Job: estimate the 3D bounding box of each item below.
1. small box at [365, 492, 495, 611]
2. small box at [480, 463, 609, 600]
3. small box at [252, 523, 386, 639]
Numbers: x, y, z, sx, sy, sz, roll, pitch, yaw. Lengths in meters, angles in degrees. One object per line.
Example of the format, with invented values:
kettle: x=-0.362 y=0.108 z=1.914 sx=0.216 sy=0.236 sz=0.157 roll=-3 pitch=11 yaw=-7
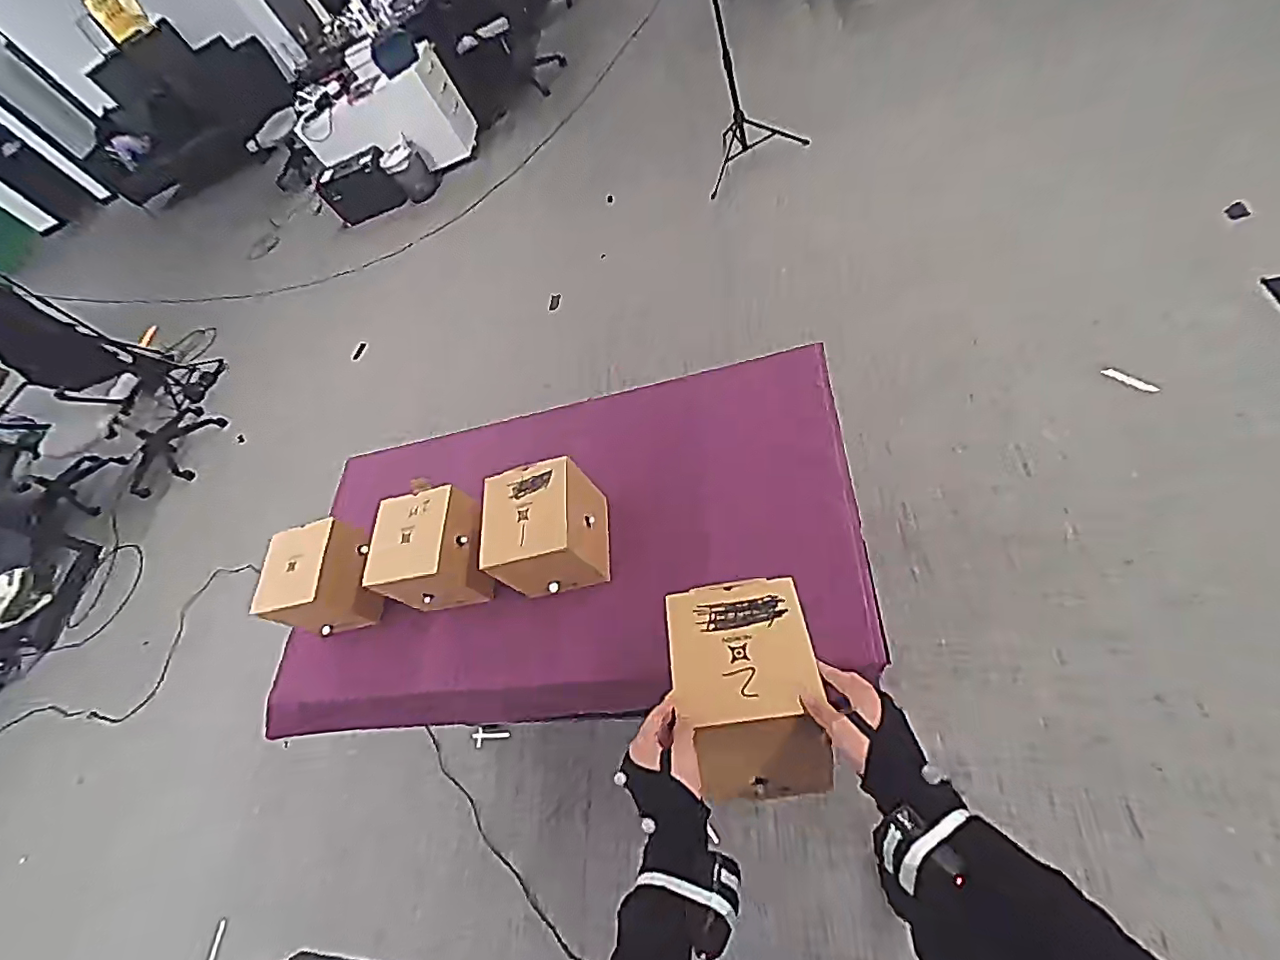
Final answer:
small box: x=-0.390 y=0.148 z=1.049 sx=0.168 sy=0.176 sz=0.179 roll=-12 pitch=57 yaw=17
small box: x=-0.164 y=0.099 z=0.977 sx=0.168 sy=0.176 sz=0.179 roll=-15 pitch=57 yaw=16
small box: x=-0.646 y=0.215 z=1.123 sx=0.168 sy=0.176 sz=0.179 roll=-14 pitch=57 yaw=17
